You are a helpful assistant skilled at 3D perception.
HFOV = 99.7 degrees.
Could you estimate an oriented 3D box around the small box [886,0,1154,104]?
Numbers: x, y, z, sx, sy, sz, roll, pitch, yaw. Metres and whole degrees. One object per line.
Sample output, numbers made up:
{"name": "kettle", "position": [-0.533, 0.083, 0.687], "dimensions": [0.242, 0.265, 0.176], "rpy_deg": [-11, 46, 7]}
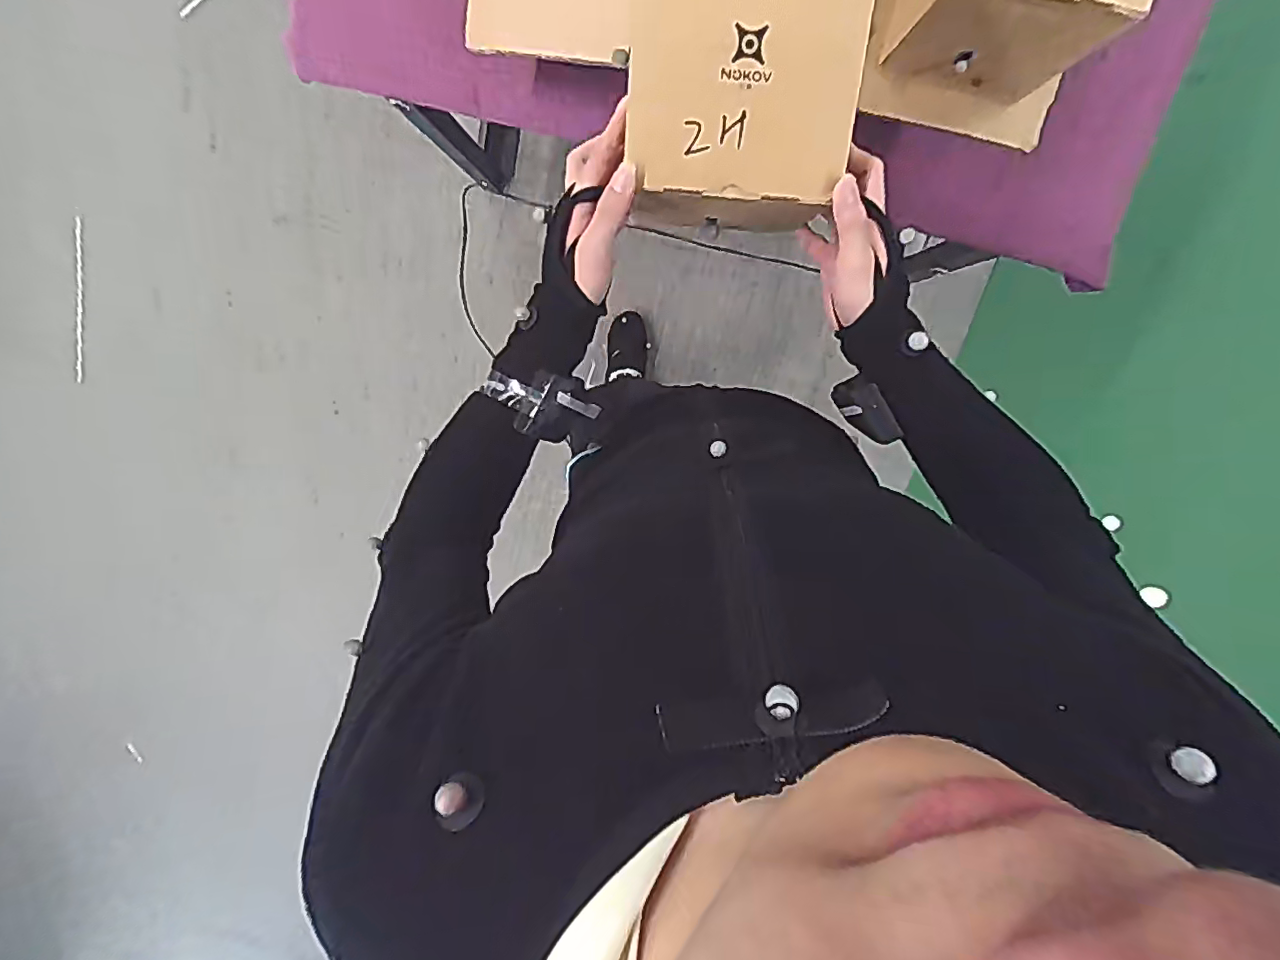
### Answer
{"name": "small box", "position": [0.361, -0.500, 0.508], "dimensions": [0.168, 0.176, 0.179], "rpy_deg": [11, 104, -3]}
